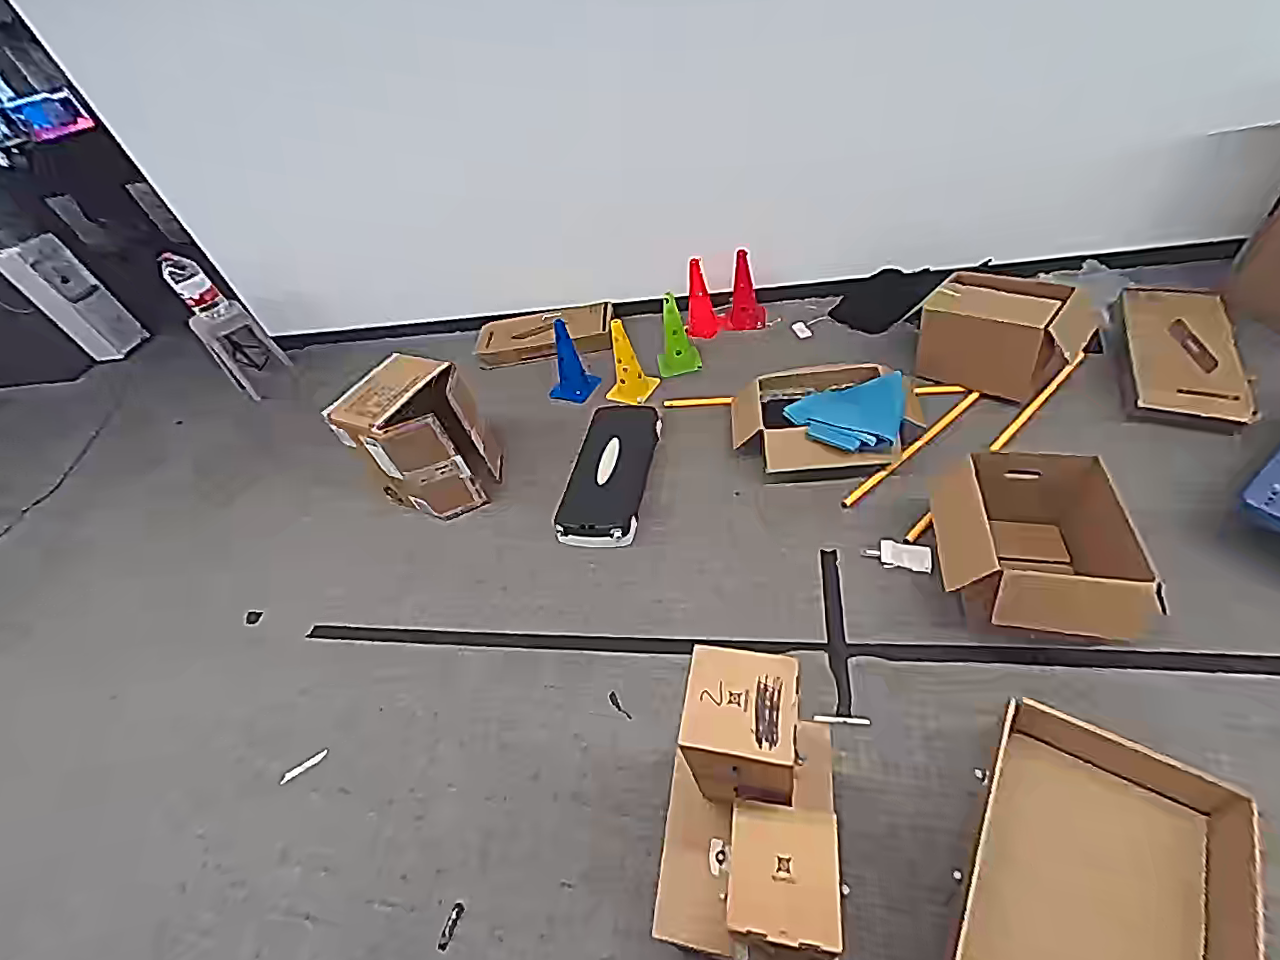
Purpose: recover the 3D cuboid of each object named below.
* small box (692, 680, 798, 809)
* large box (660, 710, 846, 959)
[{"bbox_3d":[0.206,0.503,1.026,0.179,0.176,0.168,3,50,17],"label":"small box"},{"bbox_3d":[0.239,0.748,1.131,0.320,0.320,0.408,-1,48,15],"label":"large box"}]
